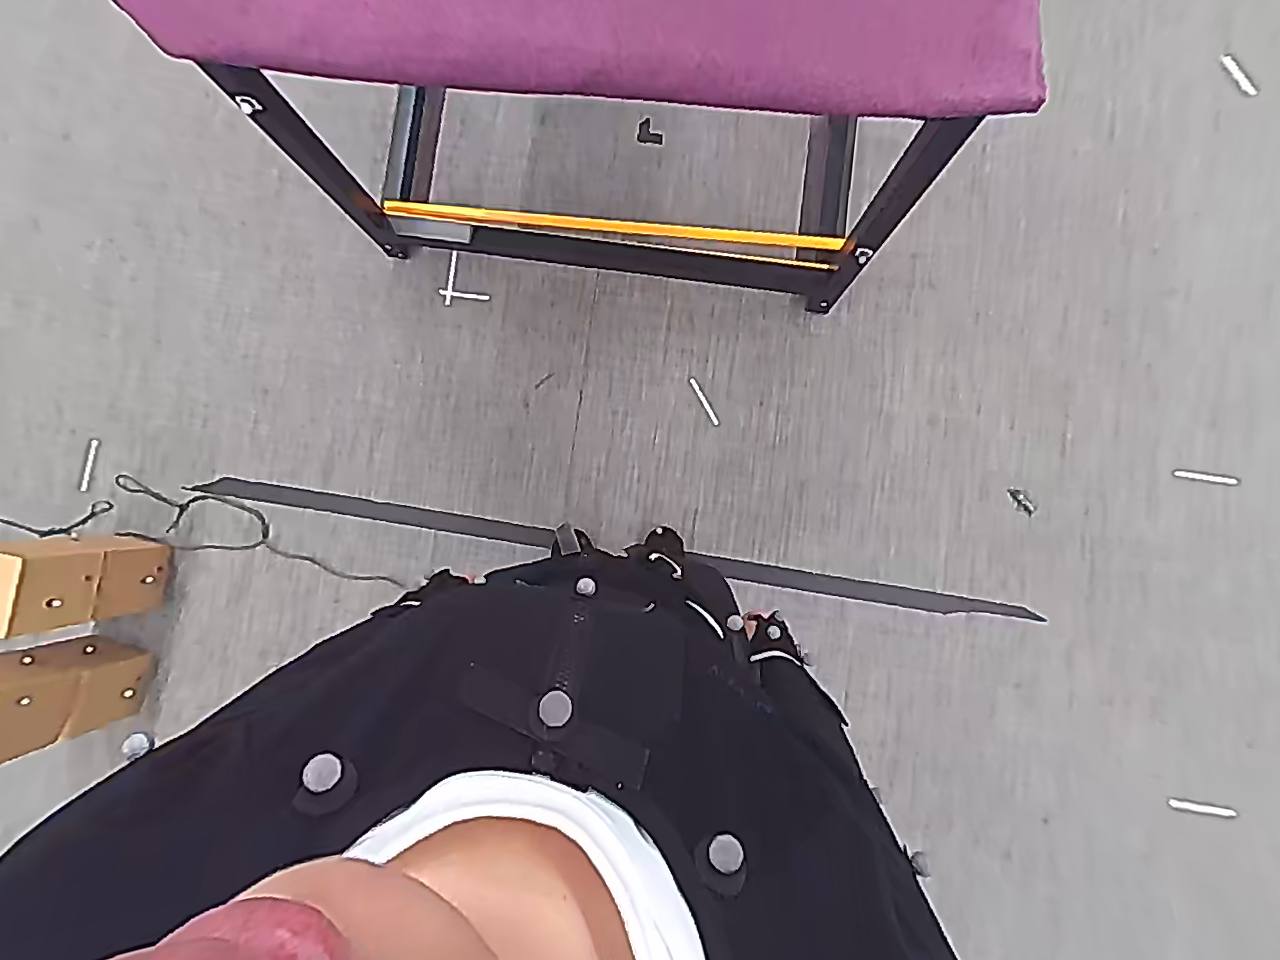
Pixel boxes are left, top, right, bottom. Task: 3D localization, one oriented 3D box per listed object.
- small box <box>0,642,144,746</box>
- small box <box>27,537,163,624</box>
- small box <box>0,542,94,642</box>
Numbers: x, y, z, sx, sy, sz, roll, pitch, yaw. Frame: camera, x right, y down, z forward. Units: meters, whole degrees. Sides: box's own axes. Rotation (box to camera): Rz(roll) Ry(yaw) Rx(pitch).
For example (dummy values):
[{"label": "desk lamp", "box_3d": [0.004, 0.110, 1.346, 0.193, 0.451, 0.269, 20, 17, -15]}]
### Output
[{"label": "small box", "box_3d": [-1.351, 0.495, 1.279, 0.179, 0.176, 0.168, 15, 86, 1]}, {"label": "small box", "box_3d": [-1.316, 0.233, 1.297, 0.179, 0.176, 0.168, 10, 88, 1]}, {"label": "small box", "box_3d": [-1.319, 0.225, 1.134, 0.179, 0.176, 0.168, 10, 87, 2]}]
